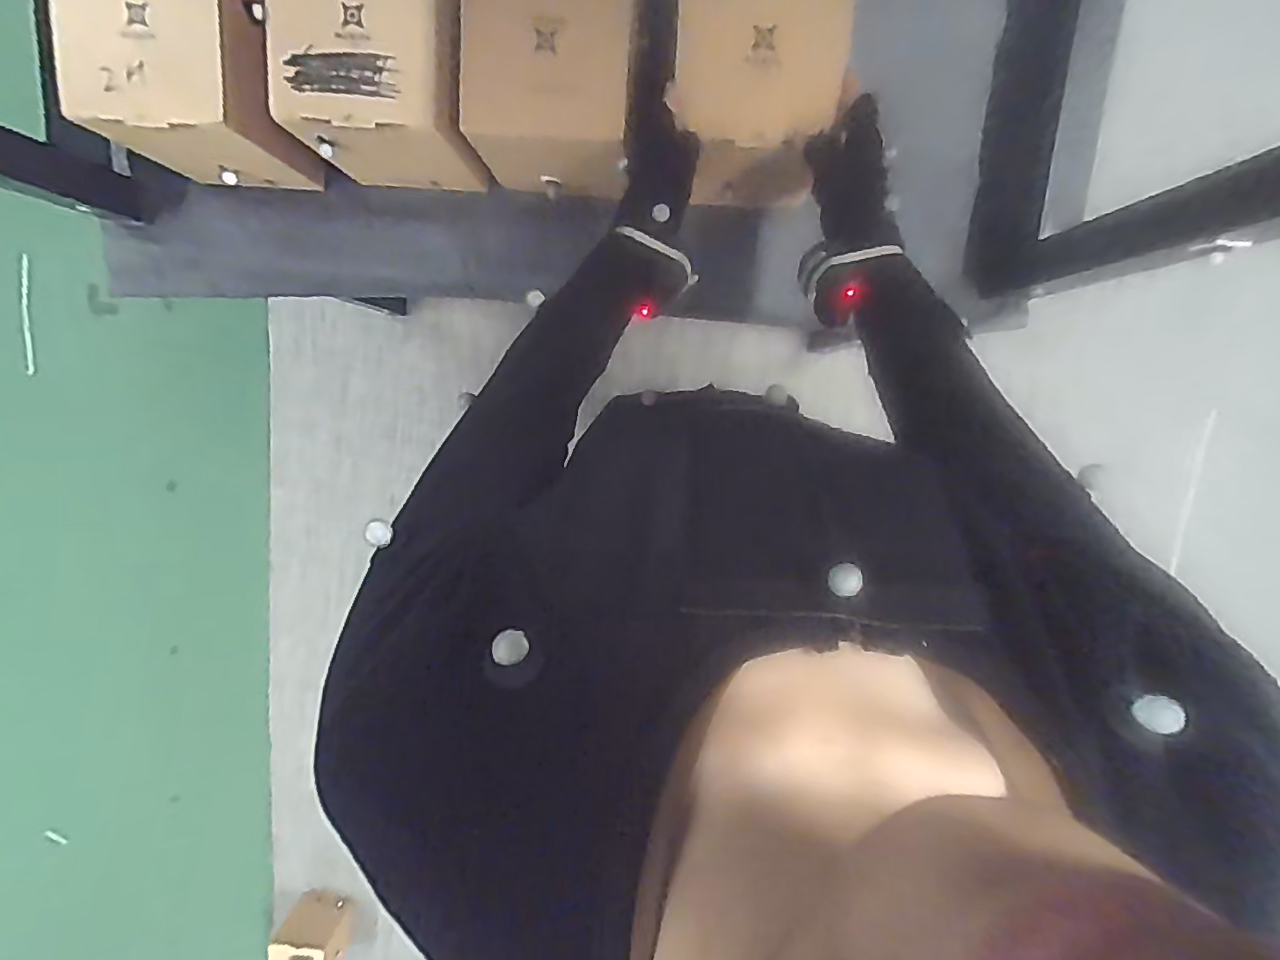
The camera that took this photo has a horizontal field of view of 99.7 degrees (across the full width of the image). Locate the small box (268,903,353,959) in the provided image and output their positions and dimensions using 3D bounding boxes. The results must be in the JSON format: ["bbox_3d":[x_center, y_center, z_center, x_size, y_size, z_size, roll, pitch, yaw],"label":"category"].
[{"bbox_3d":[-0.996,1.436,1.641,0.168,0.176,0.179,8,100,0],"label":"small box"}]

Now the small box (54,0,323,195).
[{"bbox_3d":[-0.481,-0.446,0.602,0.168,0.176,0.179,4,99,0],"label":"small box"}]

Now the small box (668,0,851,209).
[{"bbox_3d":[0.118,-0.424,0.597,0.168,0.176,0.179,2,99,1],"label":"small box"}]
